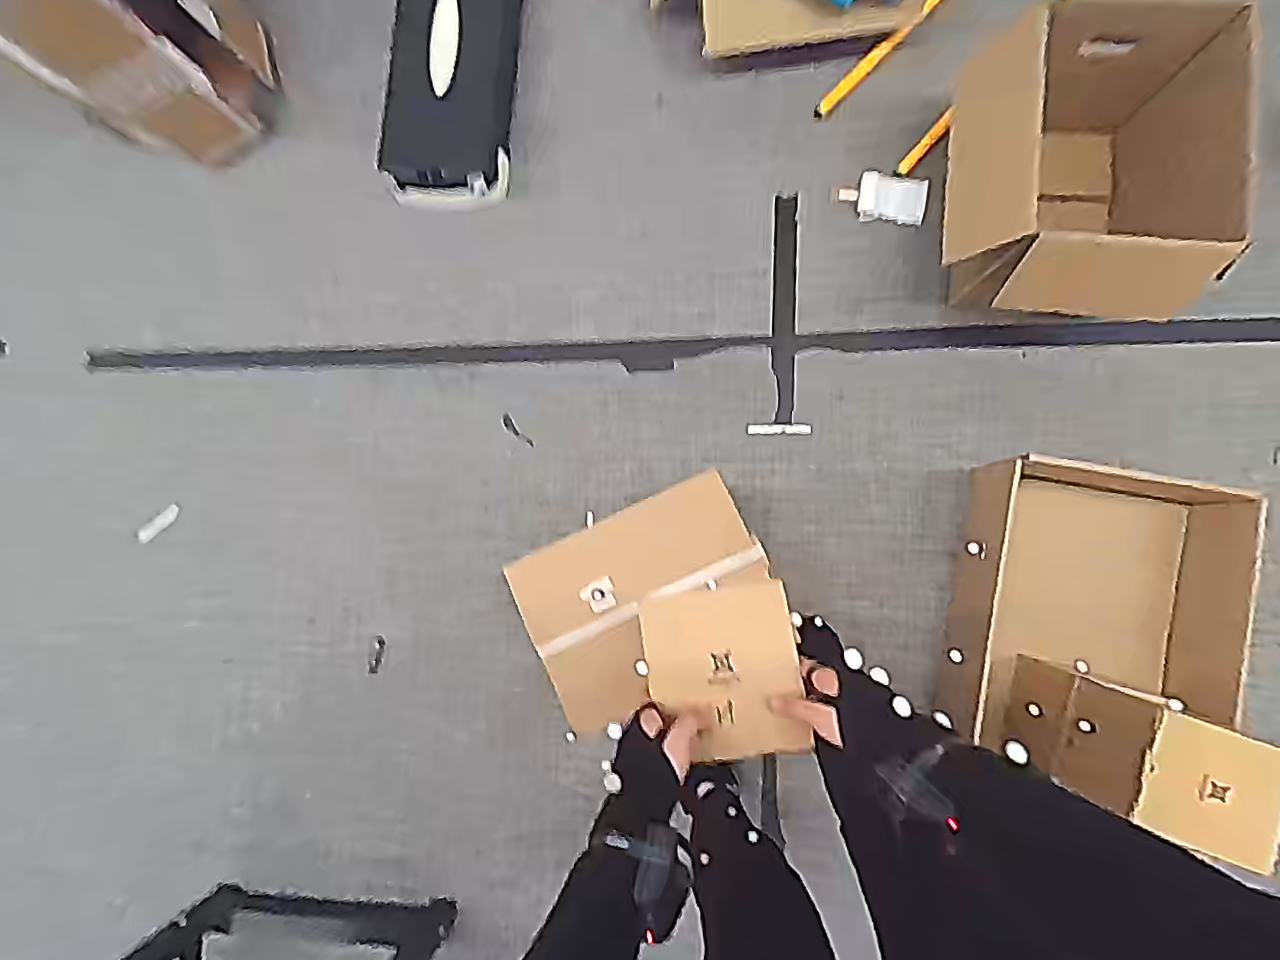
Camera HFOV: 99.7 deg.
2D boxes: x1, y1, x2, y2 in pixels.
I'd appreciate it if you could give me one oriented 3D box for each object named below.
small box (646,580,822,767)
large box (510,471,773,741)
[{"bbox_3d":[0.104,0.224,0.649,0.168,0.176,0.179,-9,74,6],"label":"small box"},{"bbox_3d":[0.035,0.216,1.038,0.408,0.320,0.320,-26,82,5],"label":"large box"}]
